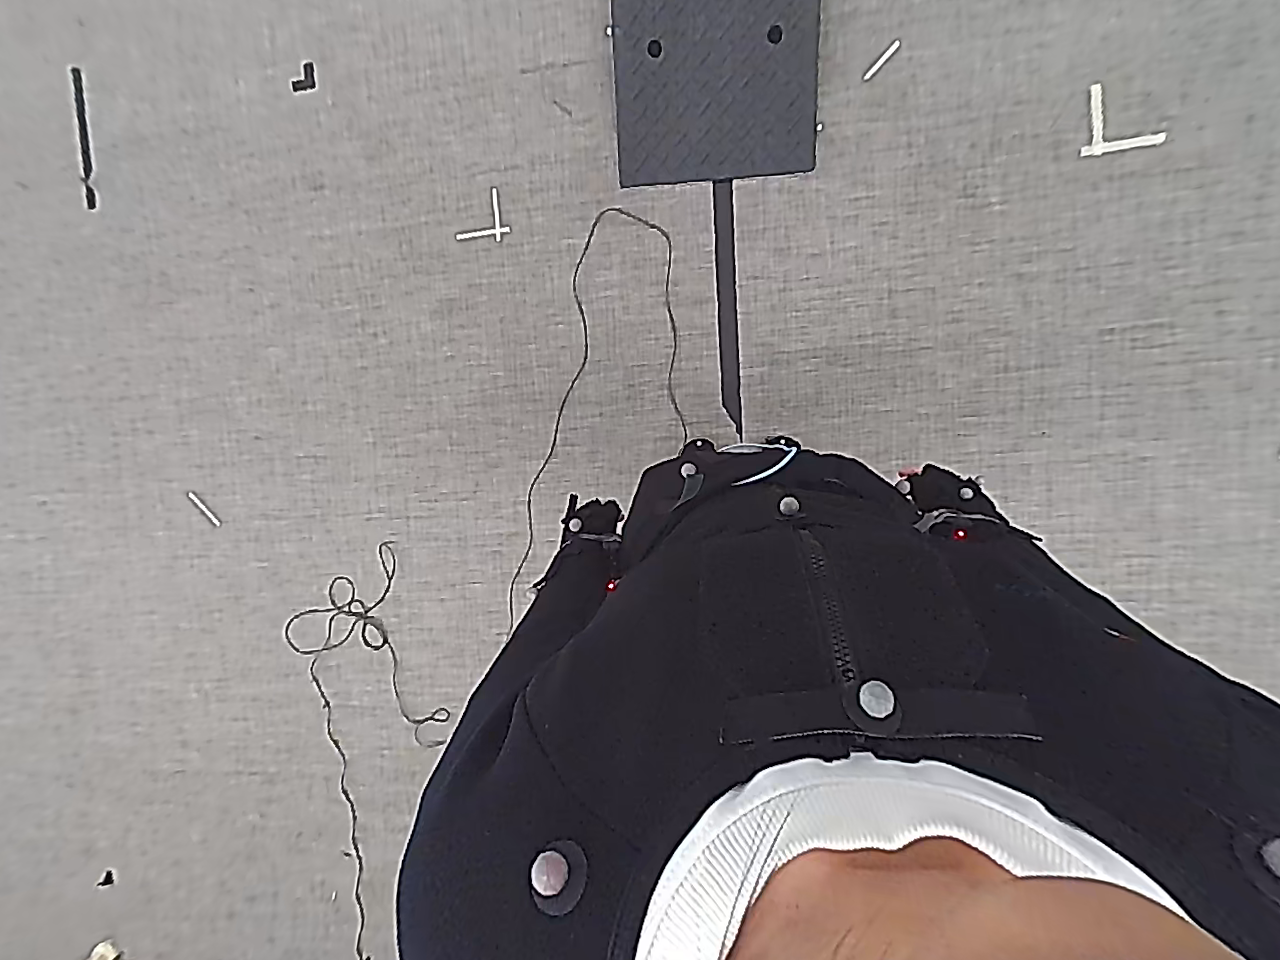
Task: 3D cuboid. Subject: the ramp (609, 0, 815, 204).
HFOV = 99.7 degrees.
[{"bbox_3d":[0.164,-1.224,1.282,0.509,0.206,0.991,-4,94,8],"label":"ramp"}]
